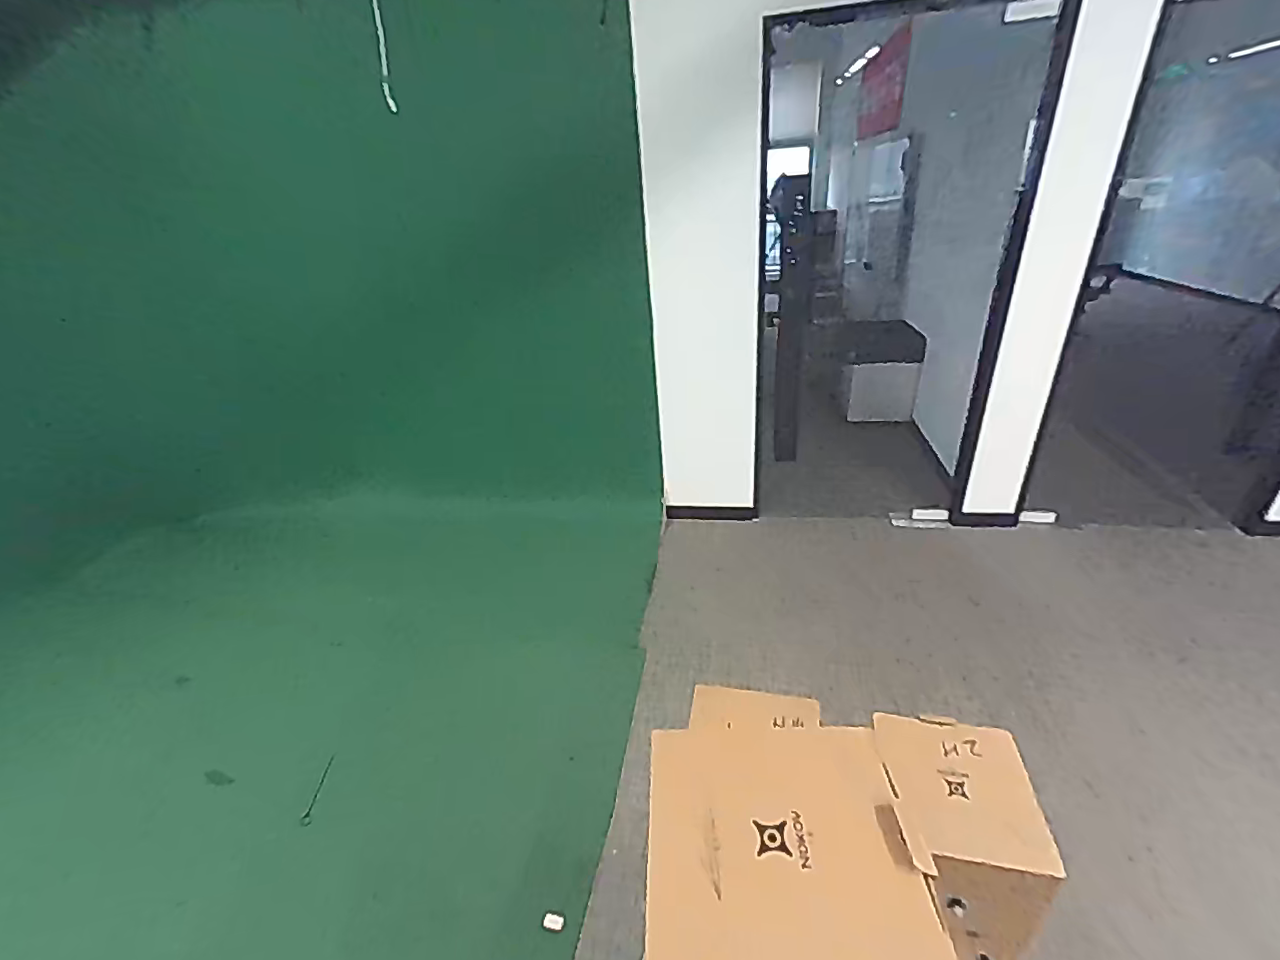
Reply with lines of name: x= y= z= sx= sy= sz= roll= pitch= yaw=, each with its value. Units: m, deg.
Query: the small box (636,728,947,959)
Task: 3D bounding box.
small box: x=0.095 y=0.309 z=0.399 sx=0.179 sy=0.176 sz=0.168 roll=-4 pitch=29 yaw=5

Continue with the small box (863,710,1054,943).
small box: x=0.370 y=0.426 z=0.675 sx=0.168 sy=0.176 sz=0.179 roll=4 pitch=29 yaw=14
